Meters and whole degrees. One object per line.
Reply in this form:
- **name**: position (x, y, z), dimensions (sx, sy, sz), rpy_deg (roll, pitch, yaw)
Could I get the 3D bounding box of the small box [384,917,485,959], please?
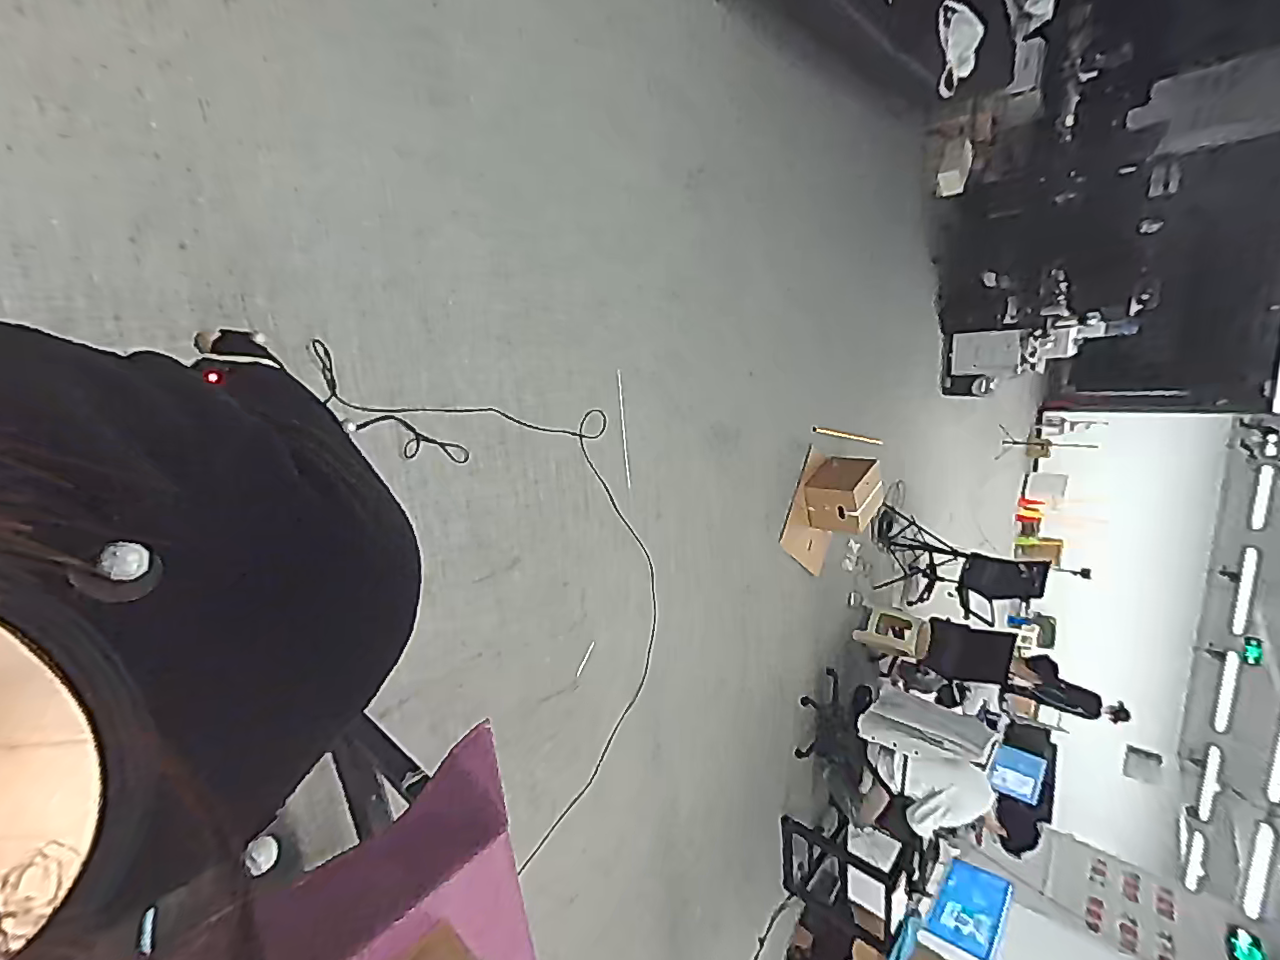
- **small box**: position (-0.332, 0.855, 0.860), dimensions (0.168, 0.176, 0.179), rpy_deg (-23, 113, -43)
